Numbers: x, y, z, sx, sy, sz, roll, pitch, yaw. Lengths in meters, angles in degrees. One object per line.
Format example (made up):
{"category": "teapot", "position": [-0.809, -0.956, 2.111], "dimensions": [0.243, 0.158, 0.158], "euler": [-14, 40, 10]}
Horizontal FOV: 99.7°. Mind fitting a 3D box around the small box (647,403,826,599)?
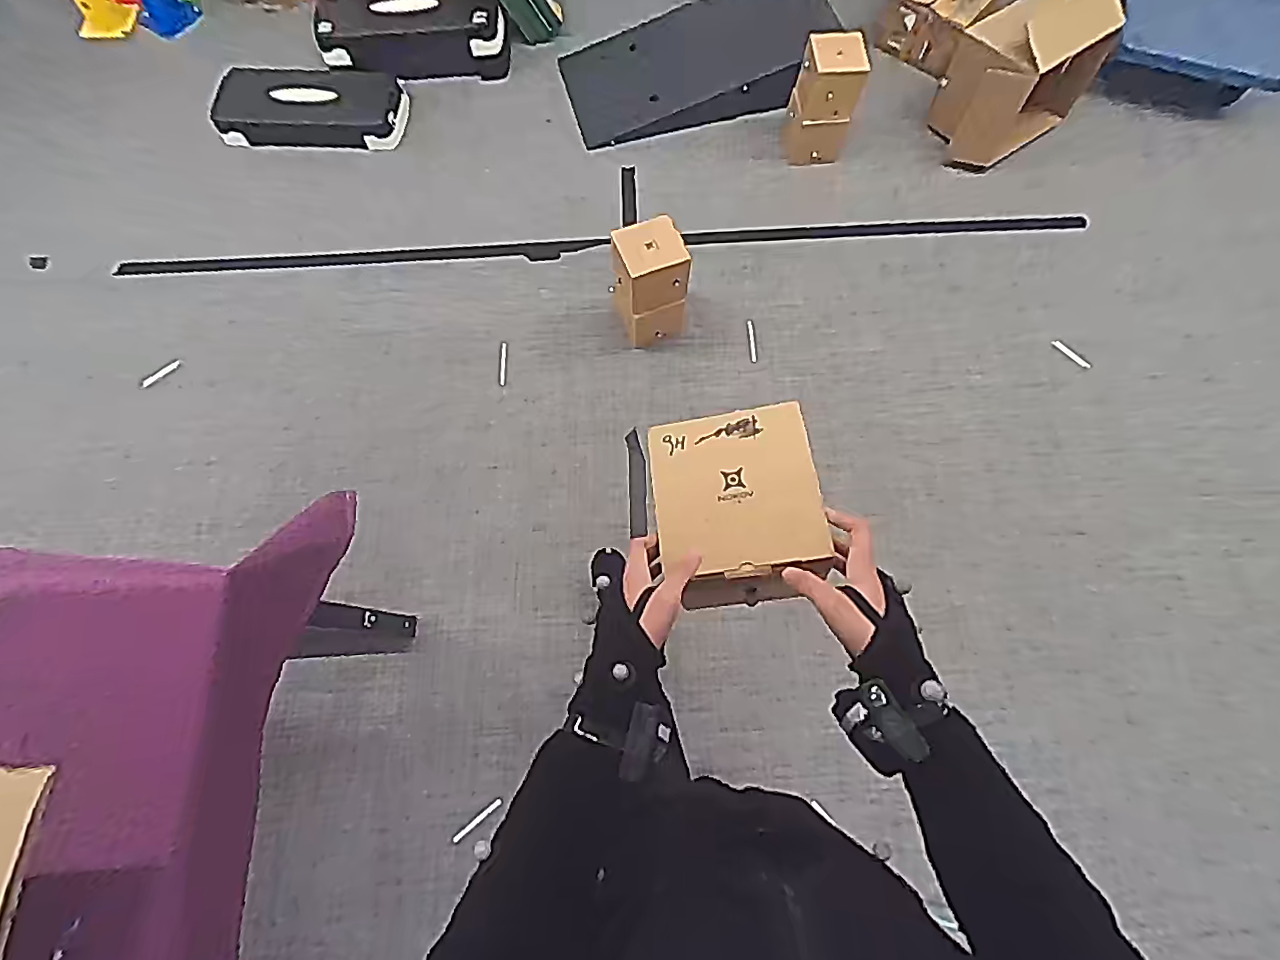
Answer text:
{"category": "small box", "position": [0.111, 0.037, 0.628], "dimensions": [0.168, 0.176, 0.179], "euler": [-9, 67, 10]}
